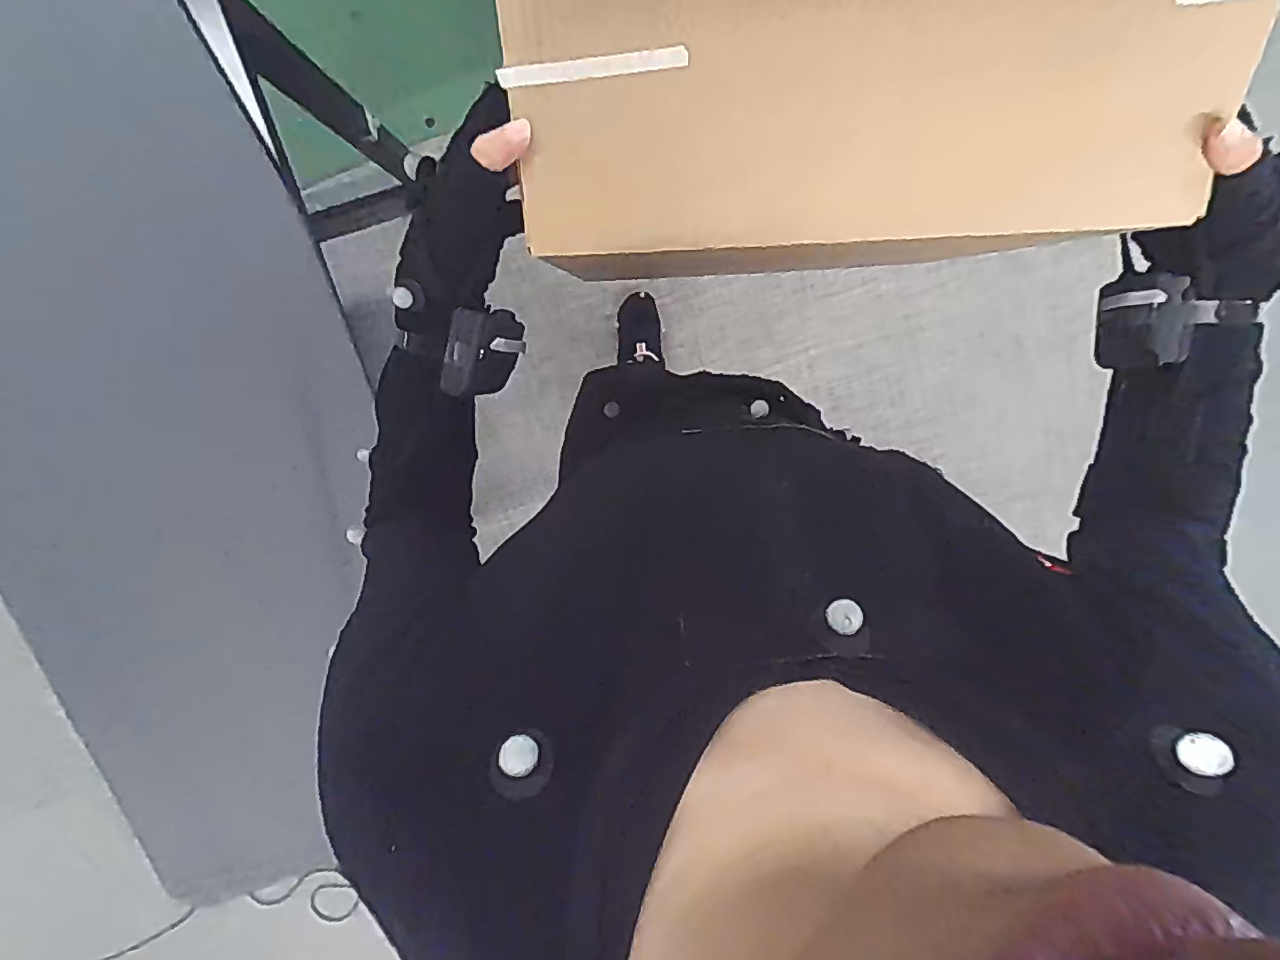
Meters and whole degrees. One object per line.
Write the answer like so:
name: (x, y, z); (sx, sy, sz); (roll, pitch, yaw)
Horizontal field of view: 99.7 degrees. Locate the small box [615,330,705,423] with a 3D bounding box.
small box: (0.041, -0.265, 1.359); (0.168, 0.176, 0.179); (14, 107, -15)
